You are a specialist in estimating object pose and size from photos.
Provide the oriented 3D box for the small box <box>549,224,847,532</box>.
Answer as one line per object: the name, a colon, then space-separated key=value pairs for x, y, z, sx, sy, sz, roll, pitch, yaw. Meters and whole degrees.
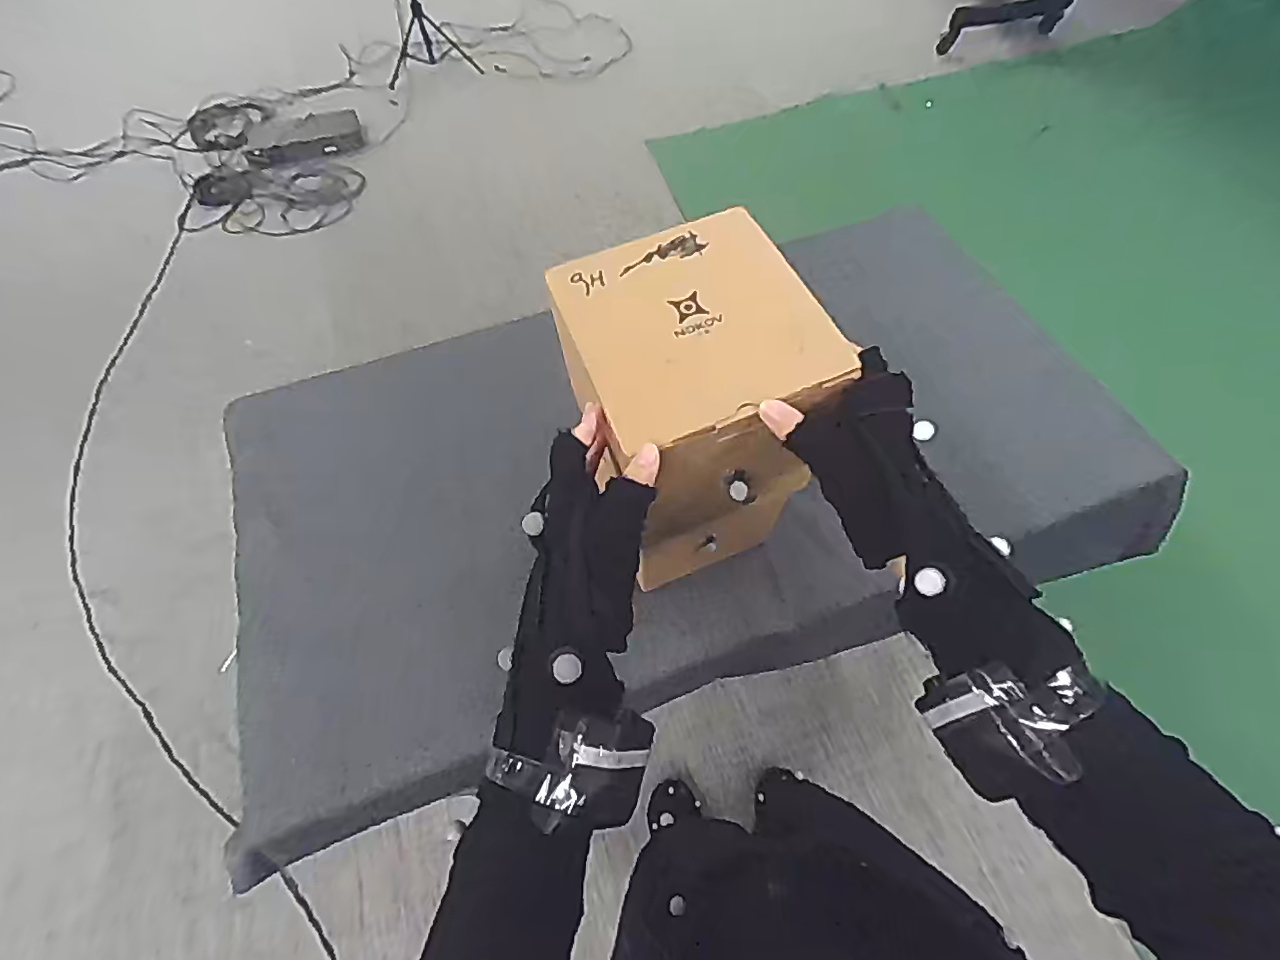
small box: x=0.040 y=-0.071 z=0.460 sx=0.168 sy=0.176 sz=0.179 roll=-21 pitch=65 yaw=-7

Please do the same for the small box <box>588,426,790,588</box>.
small box: x=0.051 y=0.008 z=0.657 sx=0.179 sy=0.176 sz=0.168 roll=-22 pitch=62 yaw=-9
